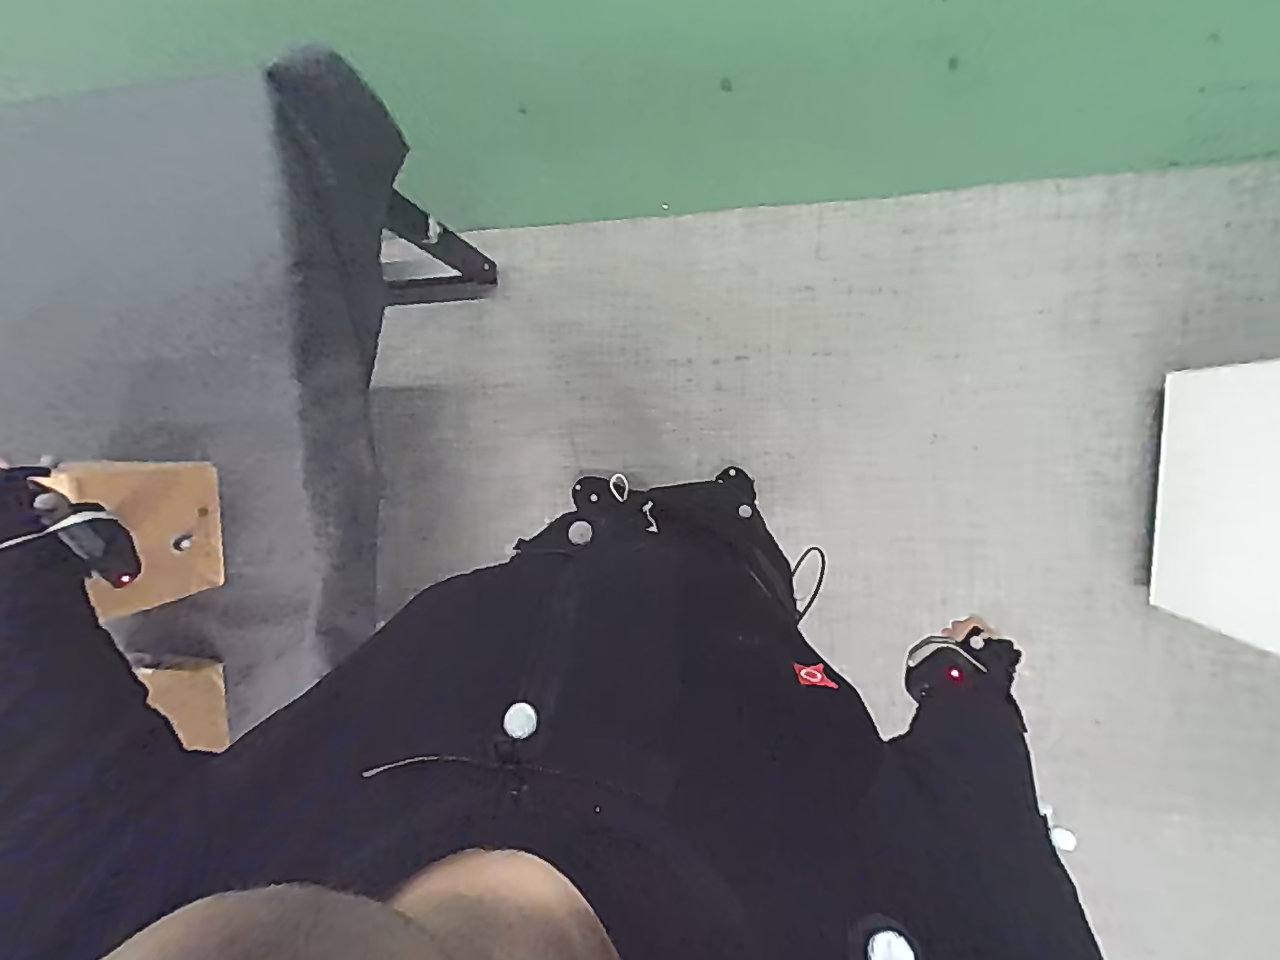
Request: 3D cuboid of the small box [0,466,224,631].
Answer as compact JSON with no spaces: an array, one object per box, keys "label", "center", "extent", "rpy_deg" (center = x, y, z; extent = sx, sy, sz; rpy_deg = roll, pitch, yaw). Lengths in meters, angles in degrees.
[{"label":"small box","center":[-0.654,0.071,0.654],"extent":[0.179,0.176,0.168],"rpy_deg":[0,95,8]}]
